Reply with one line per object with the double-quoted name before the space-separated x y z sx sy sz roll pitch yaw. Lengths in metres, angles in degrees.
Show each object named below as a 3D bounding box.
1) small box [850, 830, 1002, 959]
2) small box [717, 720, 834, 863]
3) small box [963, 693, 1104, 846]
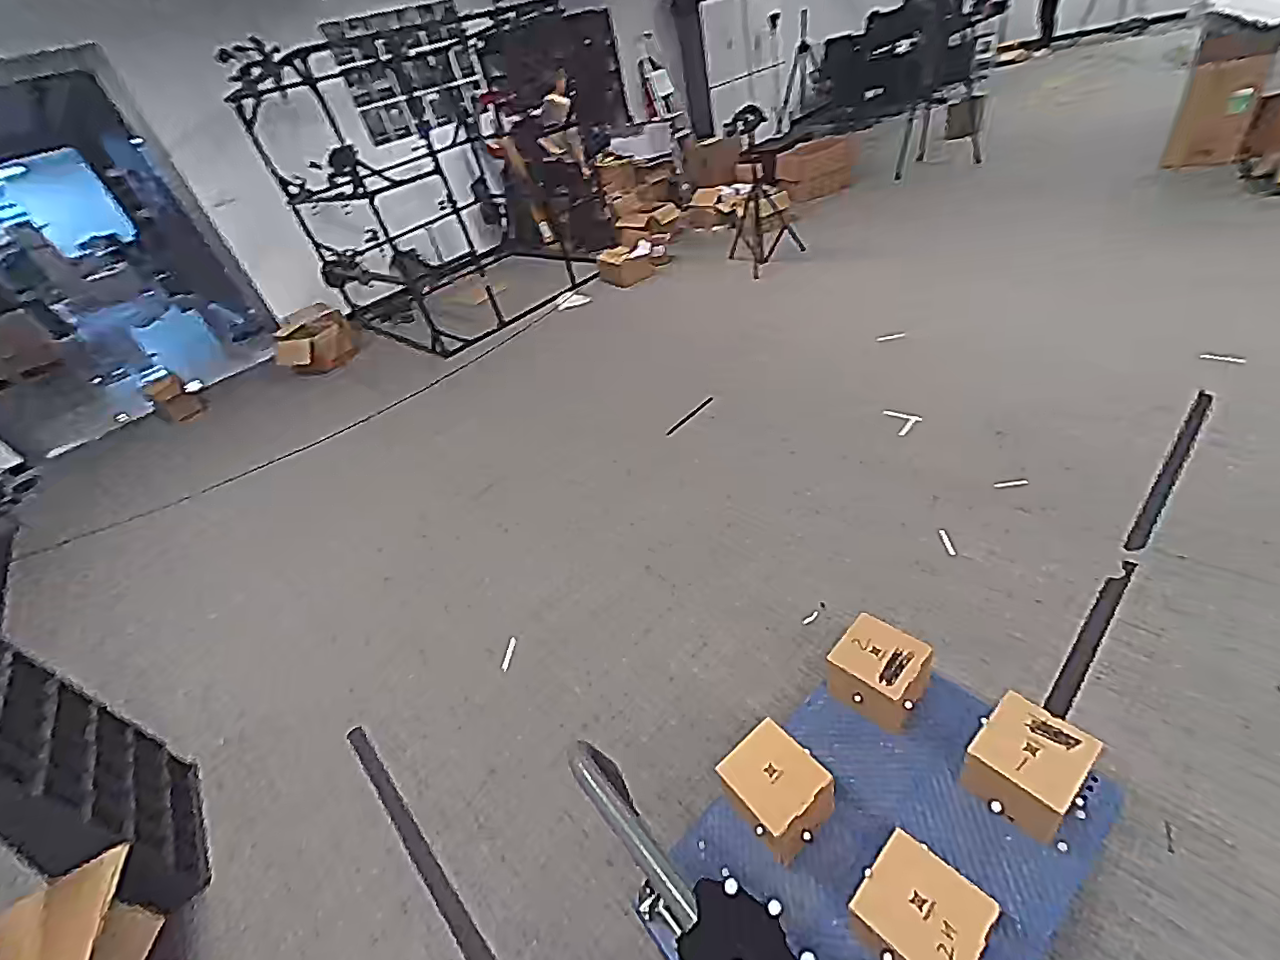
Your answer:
"small box" 0.487 0.770 0.939 0.168 0.176 0.179 -37 41 -25
"small box" 0.290 0.665 1.155 0.168 0.176 0.179 -33 41 -22
"small box" 0.772 0.576 1.079 0.179 0.176 0.168 -36 40 -22
